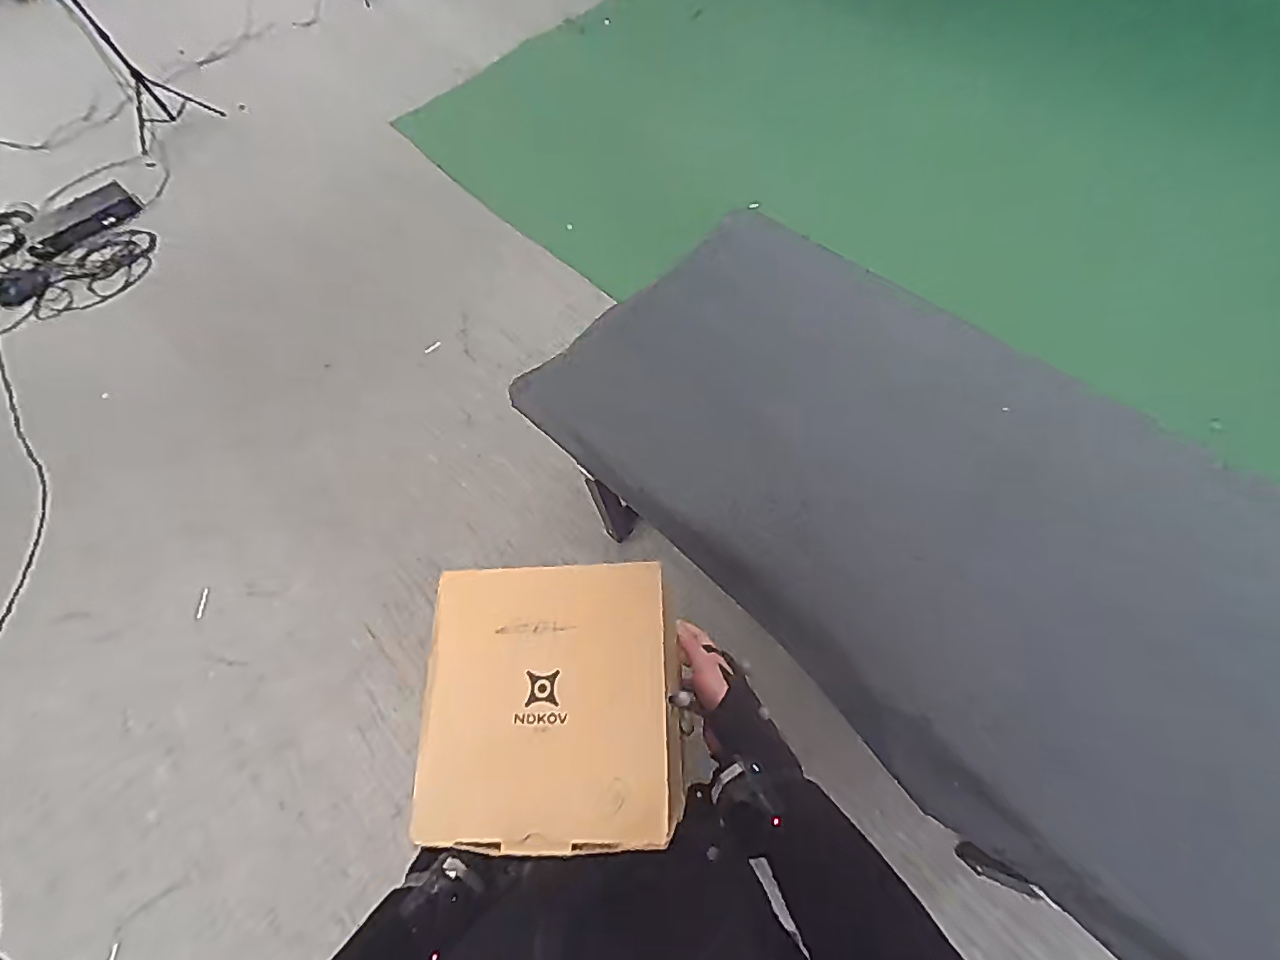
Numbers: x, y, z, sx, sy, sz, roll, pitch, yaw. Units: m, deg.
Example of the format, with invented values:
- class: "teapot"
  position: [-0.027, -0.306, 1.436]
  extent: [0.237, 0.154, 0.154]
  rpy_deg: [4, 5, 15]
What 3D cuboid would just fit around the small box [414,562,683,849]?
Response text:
- class: "small box"
  position: [-0.053, 0.172, 0.433]
  extent: [0.168, 0.176, 0.179]
  rpy_deg: [-3, 67, 5]
